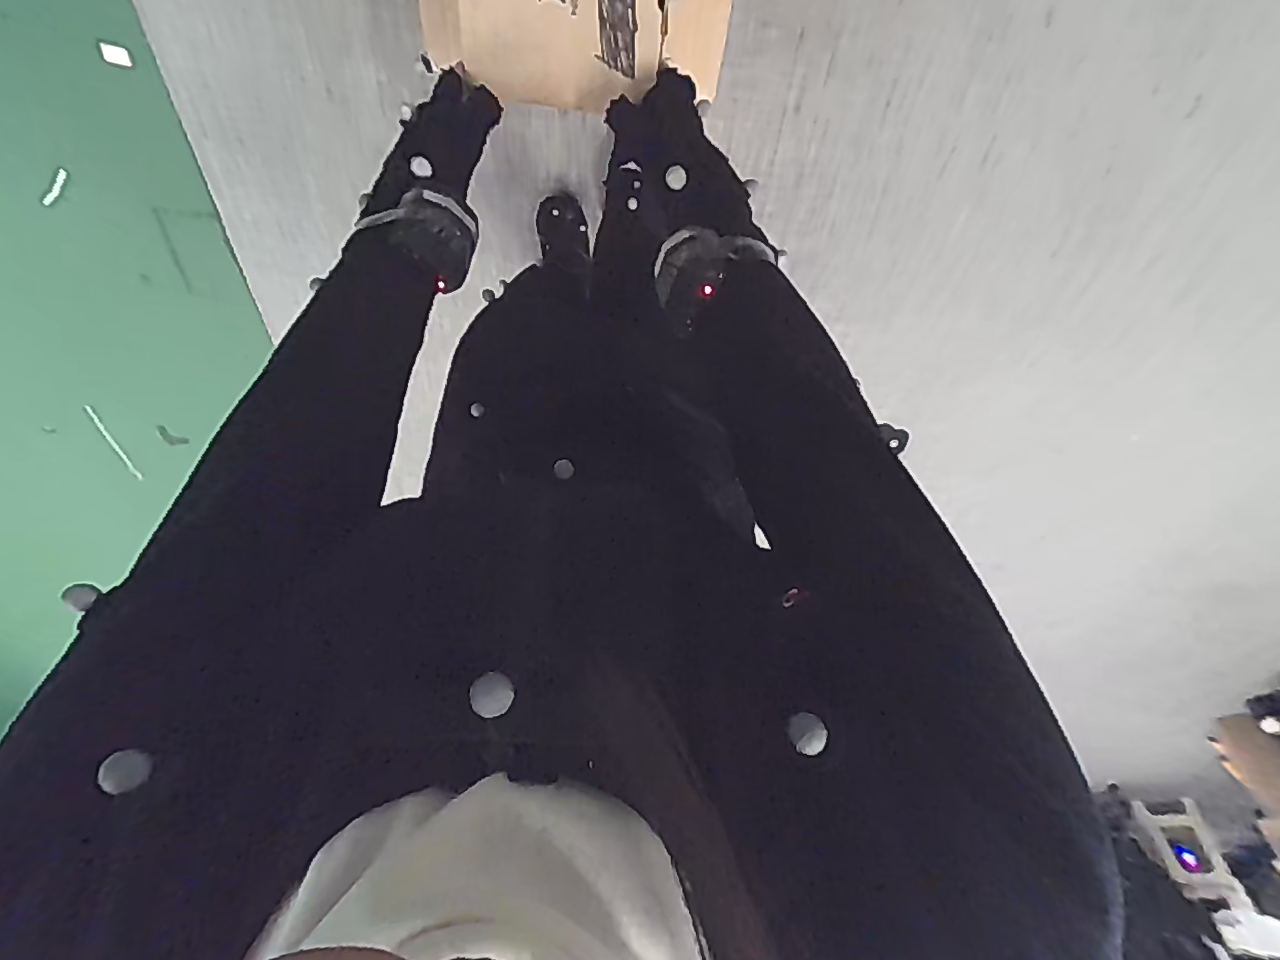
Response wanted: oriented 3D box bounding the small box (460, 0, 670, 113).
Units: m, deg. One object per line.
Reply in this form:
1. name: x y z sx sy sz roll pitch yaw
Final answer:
1. small box: -0.058 -0.456 0.498 0.179 0.176 0.168 6 131 0
